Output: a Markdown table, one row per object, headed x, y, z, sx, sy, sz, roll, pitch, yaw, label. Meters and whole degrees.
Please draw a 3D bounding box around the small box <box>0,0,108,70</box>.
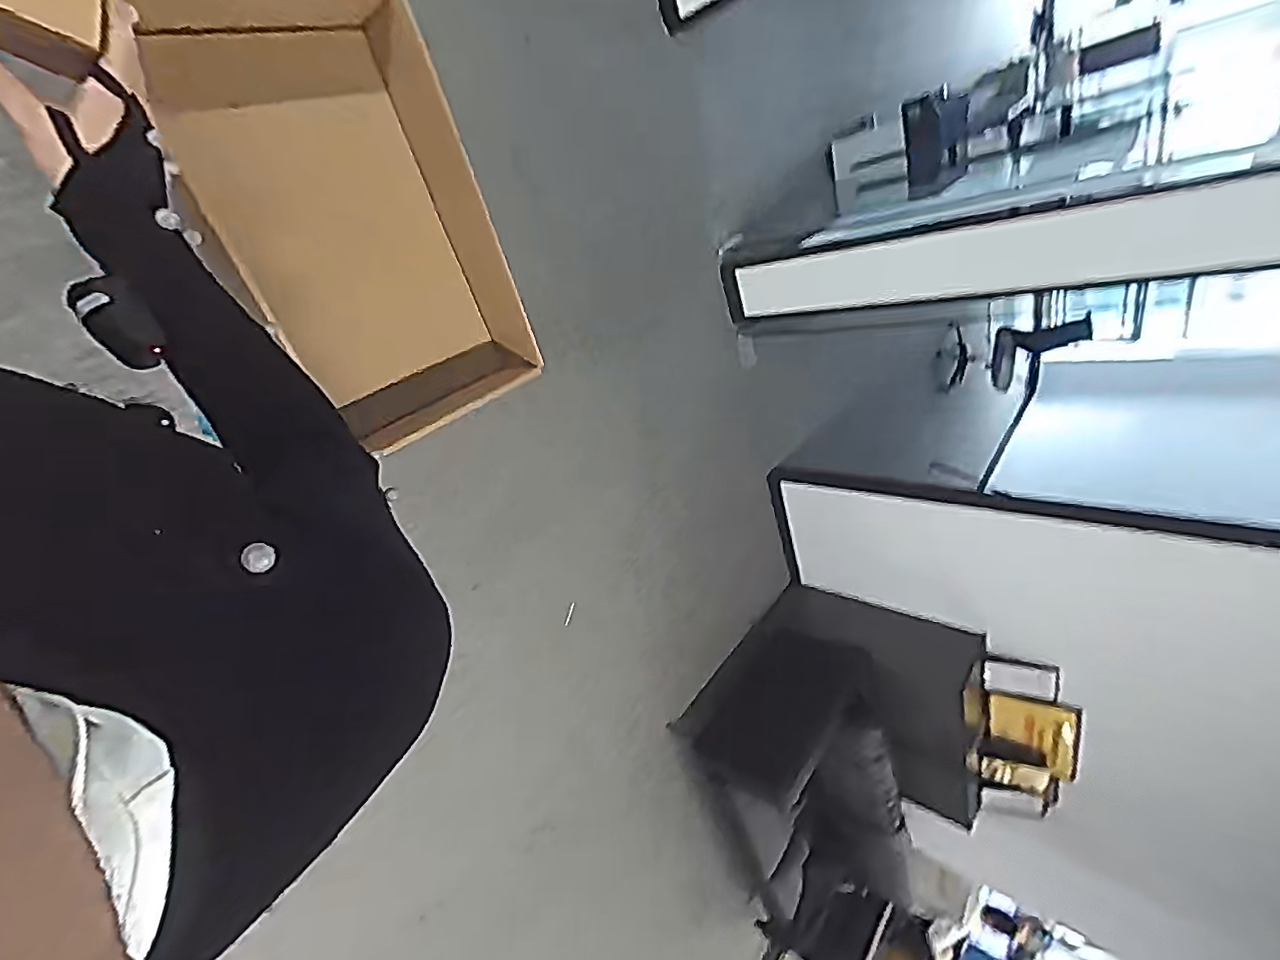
| x | y | z | sx | sy | sz | roll | pitch | yaw | label |
| --- | --- | --- | --- | --- | --- | --- | --- | --- | --- |
| -0.476 | -0.413 | 0.356 | 0.179 | 0.176 | 0.168 | 4 | 106 | -44 | small box |
